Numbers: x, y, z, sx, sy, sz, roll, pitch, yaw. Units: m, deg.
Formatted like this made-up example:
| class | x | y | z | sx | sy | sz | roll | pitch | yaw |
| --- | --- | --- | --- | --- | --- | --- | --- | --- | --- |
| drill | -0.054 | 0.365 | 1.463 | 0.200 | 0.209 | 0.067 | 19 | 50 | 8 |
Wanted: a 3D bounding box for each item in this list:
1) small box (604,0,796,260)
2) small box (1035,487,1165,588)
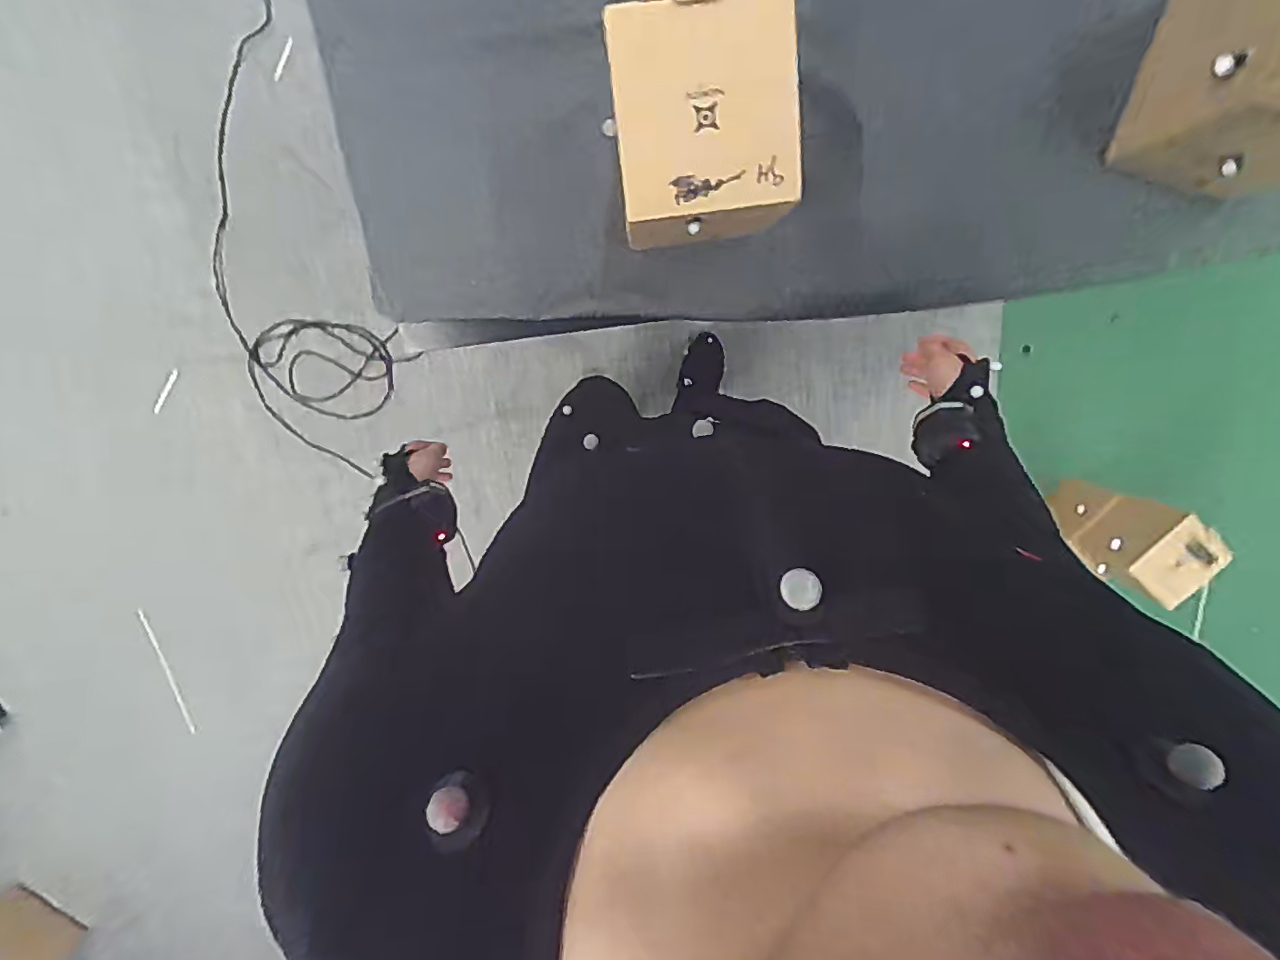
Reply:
| class | x | y | z | sx | sy | sz | roll | pitch | yaw |
| --- | --- | --- | --- | --- | --- | --- | --- | --- | --- |
| small box | 0.056 | -0.342 | 0.562 | 0.168 | 0.176 | 0.179 | -6 | 104 | 2 |
| small box | 1.206 | 0.146 | 1.441 | 0.168 | 0.176 | 0.179 | 39 | 102 | -9 |
